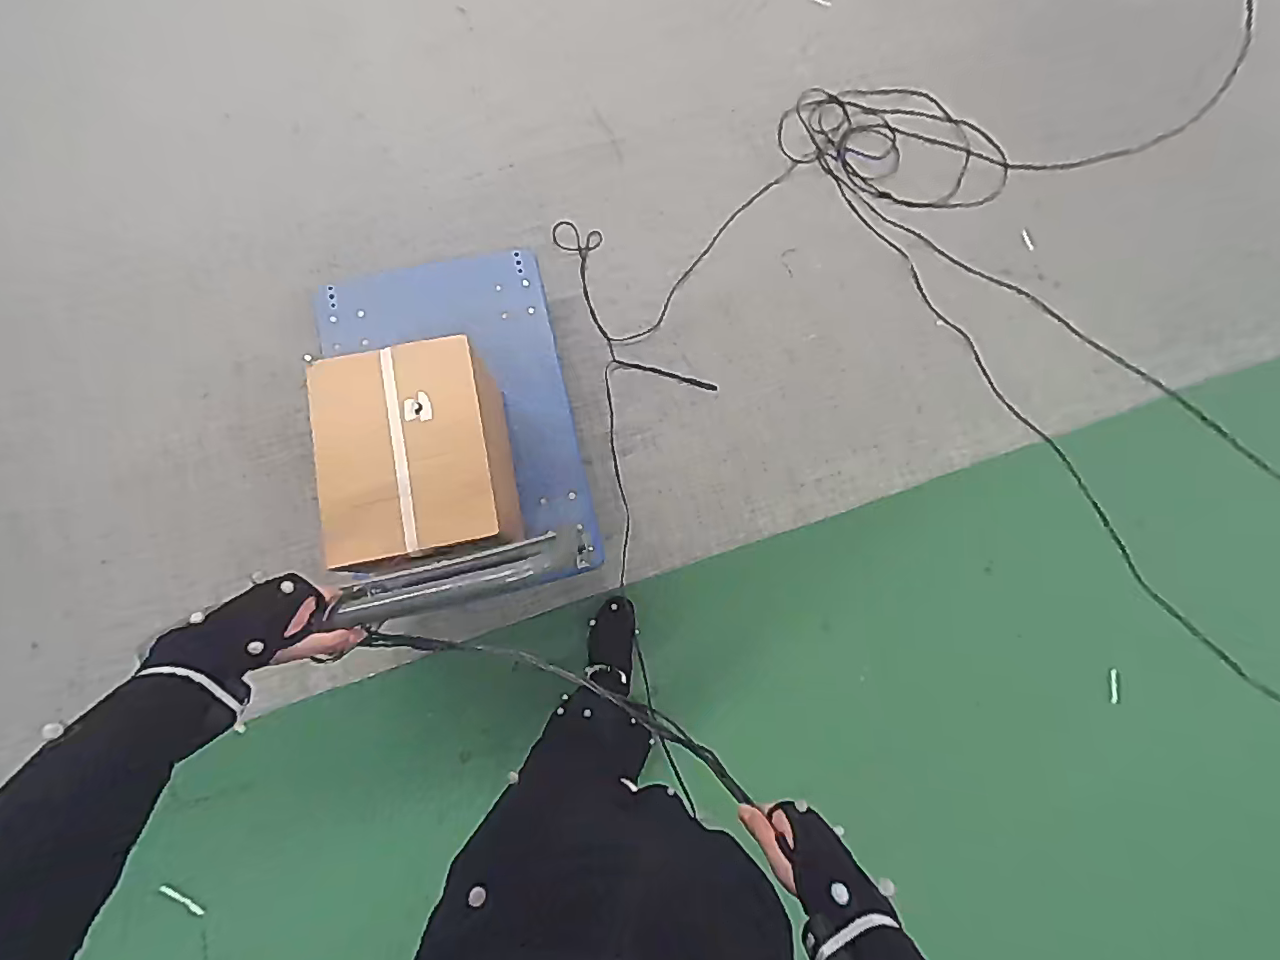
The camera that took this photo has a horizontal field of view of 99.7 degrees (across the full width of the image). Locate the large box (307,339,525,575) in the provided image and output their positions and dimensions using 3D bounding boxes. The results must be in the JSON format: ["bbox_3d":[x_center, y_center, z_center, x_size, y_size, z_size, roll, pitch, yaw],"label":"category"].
[{"bbox_3d":[-0.454,-0.029,1.157,0.320,0.320,0.408,-11,79,-5],"label":"large box"}]
